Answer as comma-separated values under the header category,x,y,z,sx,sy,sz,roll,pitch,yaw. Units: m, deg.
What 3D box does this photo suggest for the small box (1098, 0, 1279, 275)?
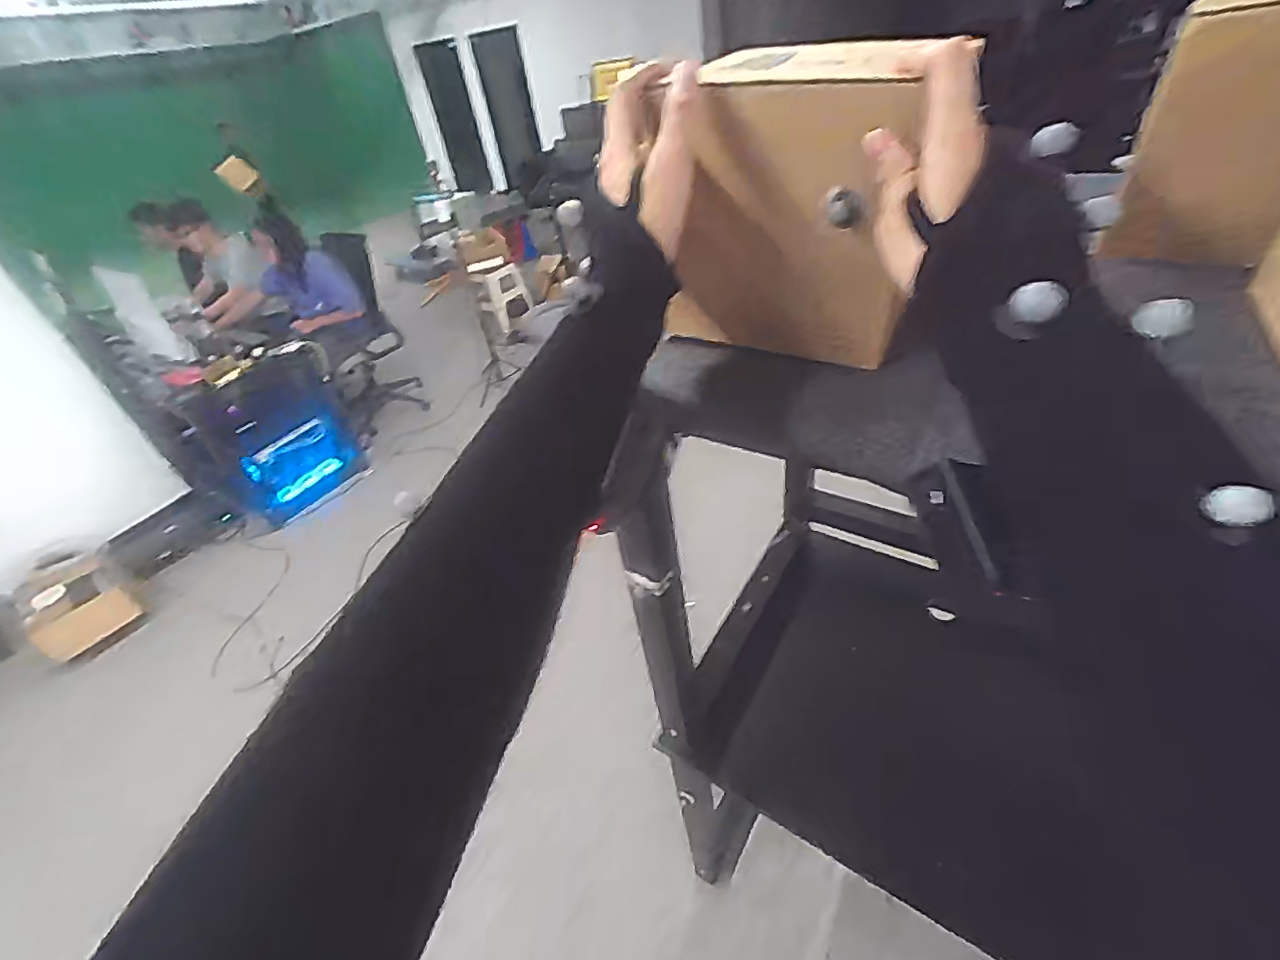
category,x,y,z,sx,sy,sz,roll,pitch,yaw
small box,0.502,-0.267,0.415,0.179,0.176,0.168,22,49,34
